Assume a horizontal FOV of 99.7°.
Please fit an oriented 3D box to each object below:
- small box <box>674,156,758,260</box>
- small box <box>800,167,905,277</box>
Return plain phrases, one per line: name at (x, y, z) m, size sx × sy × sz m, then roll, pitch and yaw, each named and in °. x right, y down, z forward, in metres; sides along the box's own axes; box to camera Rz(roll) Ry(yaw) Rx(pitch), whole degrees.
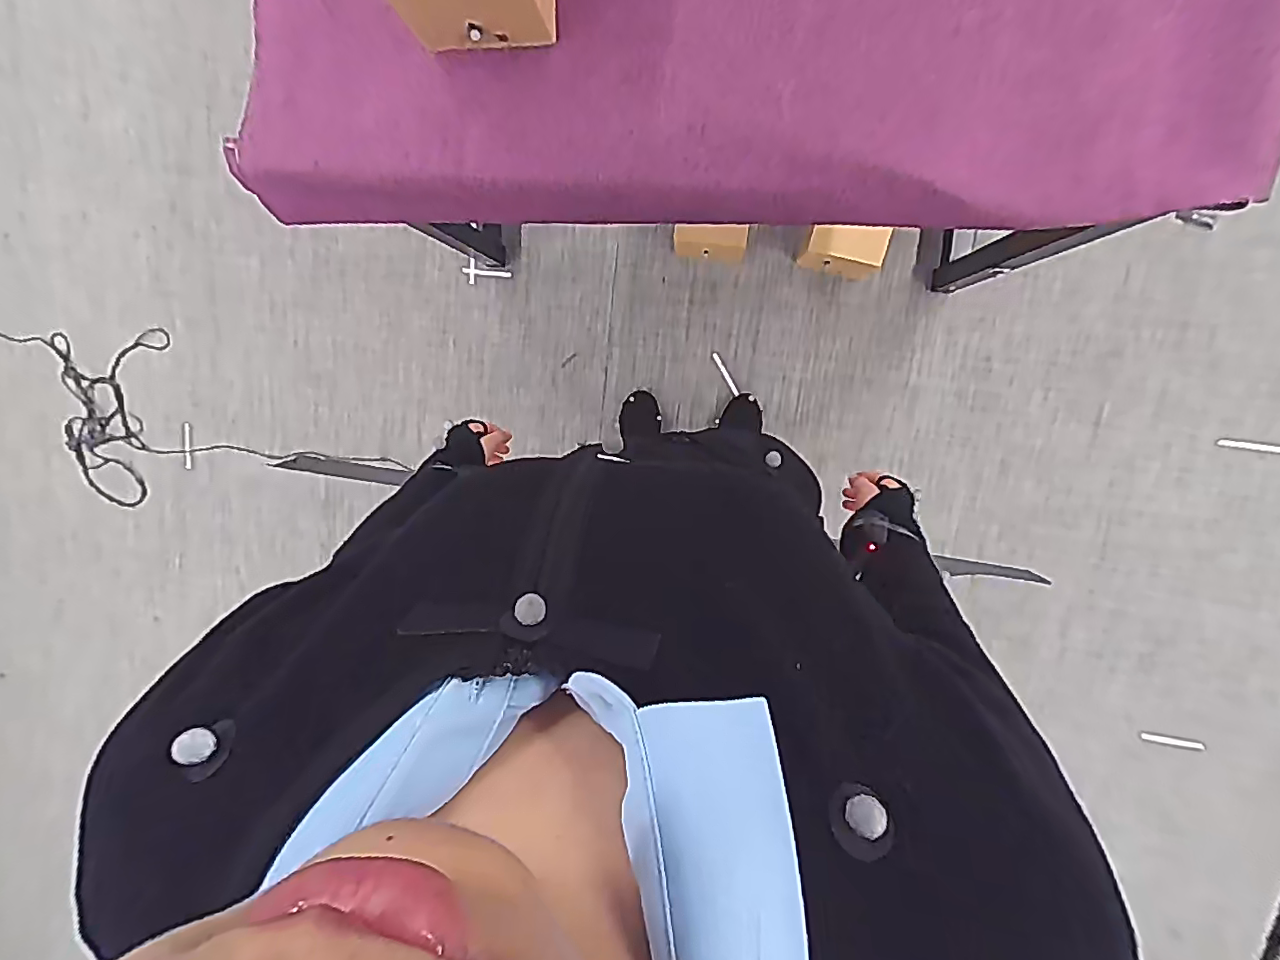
small box at (0.176, -0.634, 1.281) m, size 0.168 × 0.176 × 0.179 m, roll 8°, pitch 101°, yaw 5°
small box at (0.480, -0.588, 1.256) m, size 0.168 × 0.176 × 0.179 m, roll 15°, pitch 101°, yaw 4°
